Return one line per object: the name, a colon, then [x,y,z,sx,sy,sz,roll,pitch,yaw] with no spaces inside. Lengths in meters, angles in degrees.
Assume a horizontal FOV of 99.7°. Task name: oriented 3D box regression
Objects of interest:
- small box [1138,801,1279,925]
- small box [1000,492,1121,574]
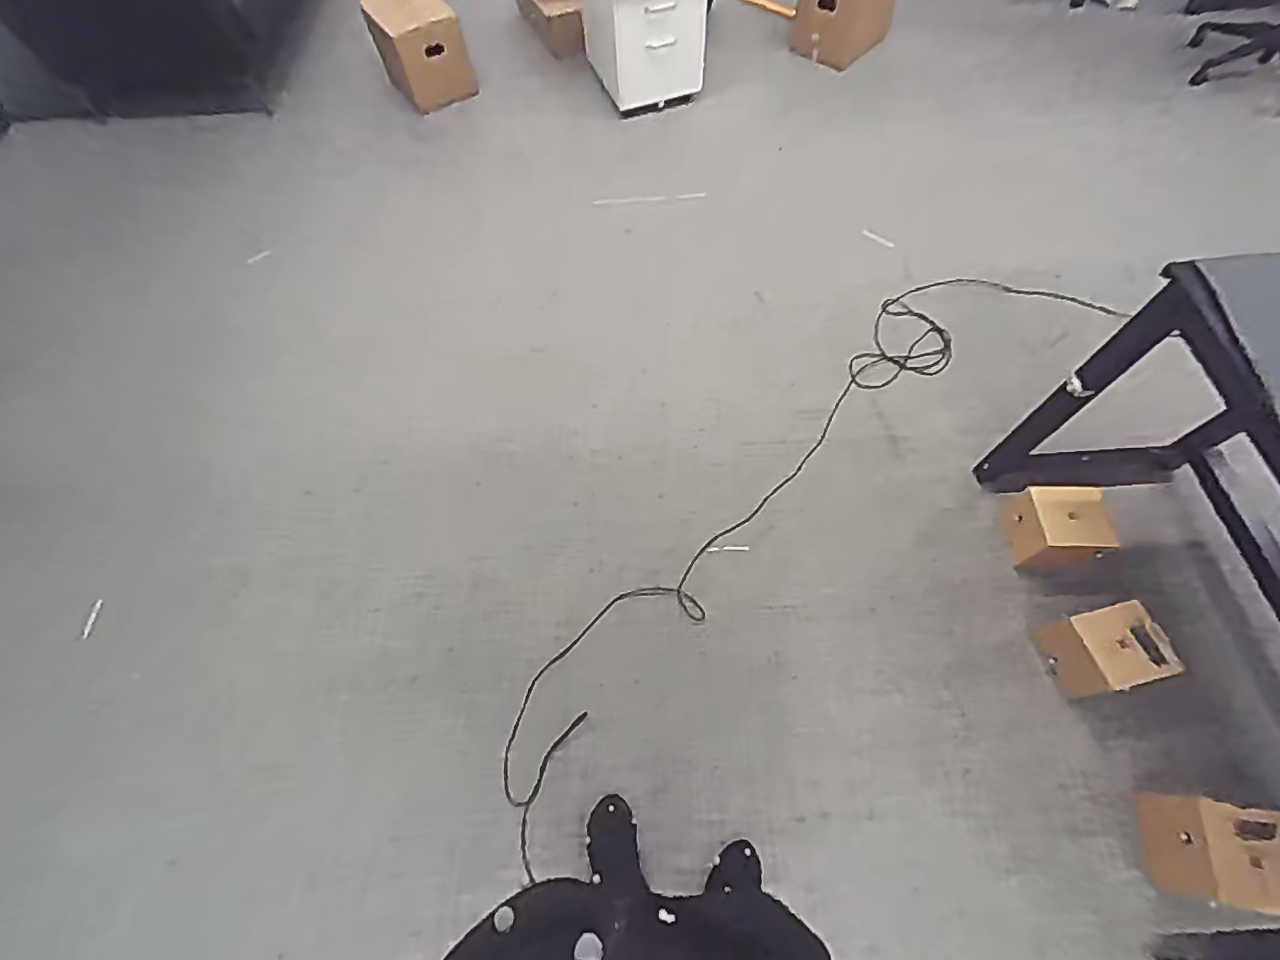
small box: [1.158,0.760,1.082,0.168,0.176,0.179,8,64,7]
small box: [1.083,0.142,1.417,0.179,0.176,0.168,1,62,2]
